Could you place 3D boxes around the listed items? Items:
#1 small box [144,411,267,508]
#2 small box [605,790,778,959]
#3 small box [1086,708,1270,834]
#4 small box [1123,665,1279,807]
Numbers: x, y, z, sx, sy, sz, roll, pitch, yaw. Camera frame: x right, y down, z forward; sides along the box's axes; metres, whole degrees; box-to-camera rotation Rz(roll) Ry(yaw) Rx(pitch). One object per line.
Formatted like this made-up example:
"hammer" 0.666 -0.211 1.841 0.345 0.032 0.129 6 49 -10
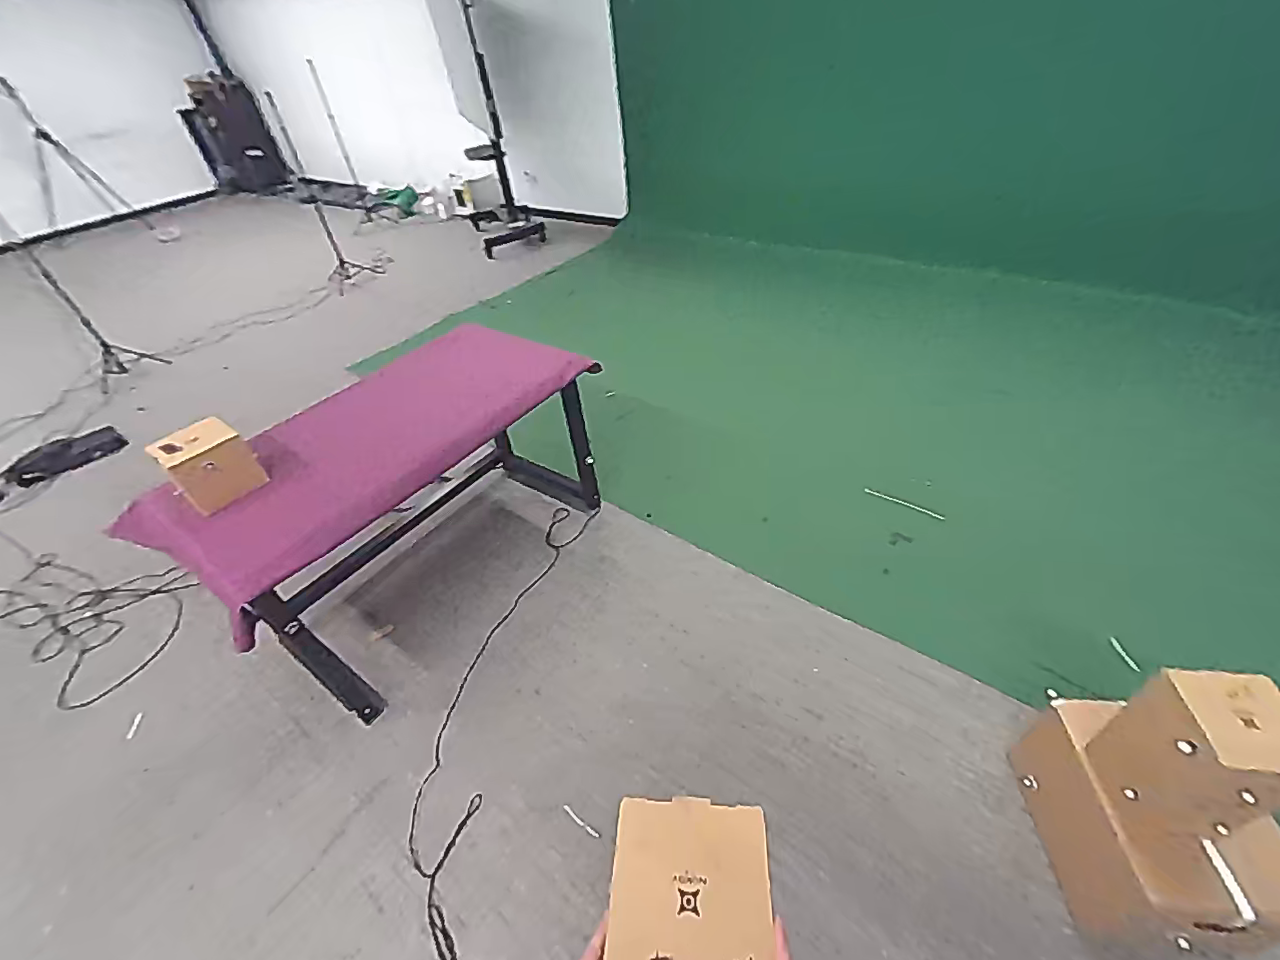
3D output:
"small box" -1.158 -0.053 1.452 0.168 0.176 0.179 24 49 29
"small box" 0.058 0.479 0.603 0.168 0.176 0.179 0 39 7
"small box" 1.049 0.580 1.076 0.168 0.176 0.179 0 42 8
"small box" 1.032 0.458 0.966 0.168 0.176 0.179 2 43 9
